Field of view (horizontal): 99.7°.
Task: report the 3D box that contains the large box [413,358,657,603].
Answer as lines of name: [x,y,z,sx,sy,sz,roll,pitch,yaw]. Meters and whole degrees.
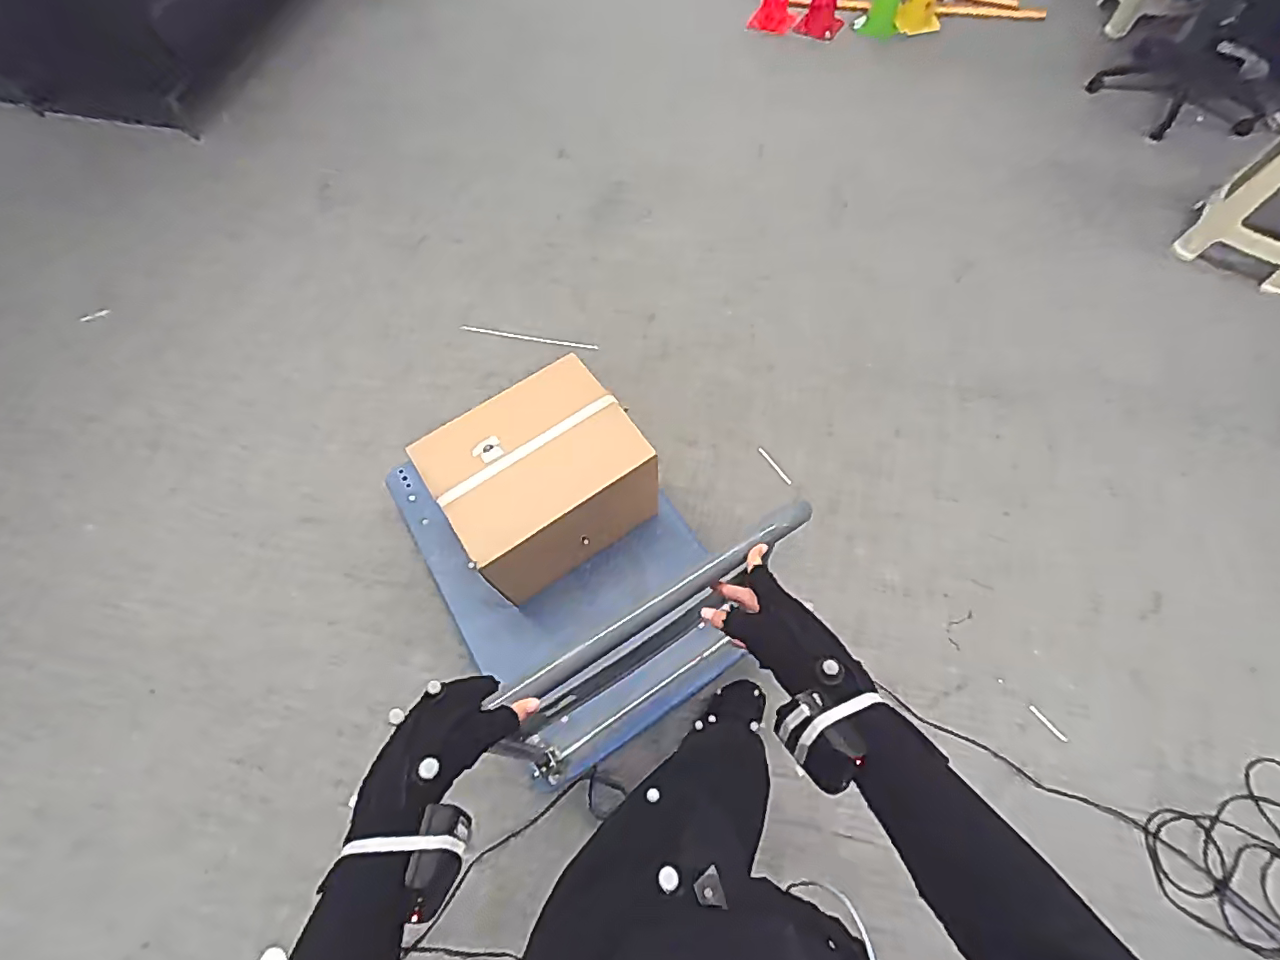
large box: [-0.208,0.013,1.214,0.408,0.320,0.320,-34,67,-12]
